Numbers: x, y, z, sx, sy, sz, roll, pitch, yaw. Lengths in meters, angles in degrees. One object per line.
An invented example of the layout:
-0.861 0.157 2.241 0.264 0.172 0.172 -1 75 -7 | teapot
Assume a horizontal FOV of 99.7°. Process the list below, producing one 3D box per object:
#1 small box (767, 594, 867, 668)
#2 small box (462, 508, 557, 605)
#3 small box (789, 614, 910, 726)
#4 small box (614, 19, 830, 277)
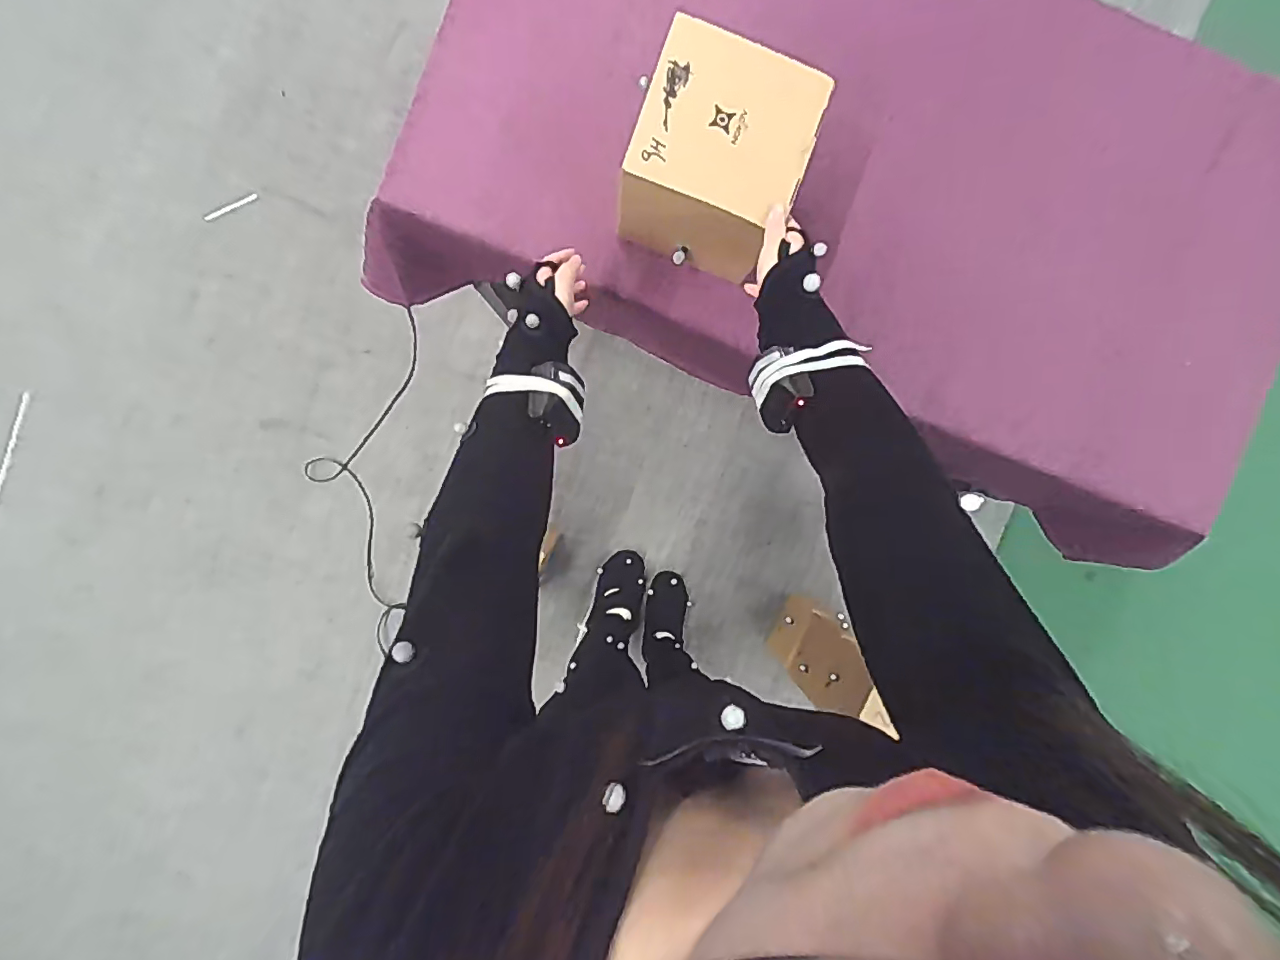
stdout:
0.454 0.414 1.407 0.179 0.176 0.168 25 91 -5 | small box
-0.317 0.184 1.357 0.168 0.176 0.179 24 90 -4 | small box
0.471 0.426 1.245 0.179 0.176 0.168 22 92 -5 | small box
0.080 -0.356 0.623 0.179 0.176 0.168 19 90 -6 | small box
